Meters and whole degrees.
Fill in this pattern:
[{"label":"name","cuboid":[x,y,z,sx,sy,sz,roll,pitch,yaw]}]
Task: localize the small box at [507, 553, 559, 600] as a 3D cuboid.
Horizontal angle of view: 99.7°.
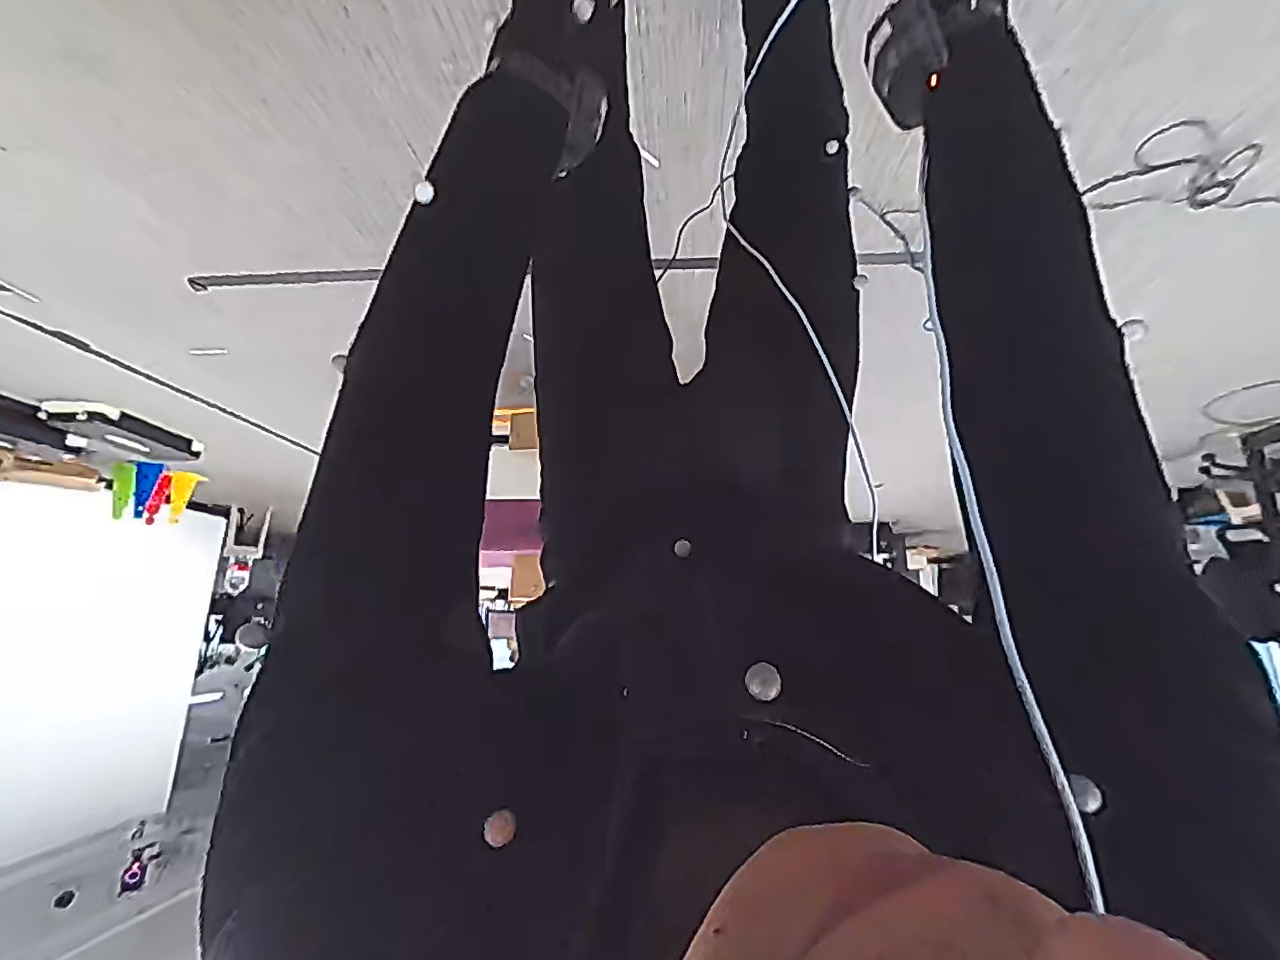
[{"label":"small box","cuboid":[-0.425,0.390,2.171,0.179,0.176,0.168,-1,165,1]}]
